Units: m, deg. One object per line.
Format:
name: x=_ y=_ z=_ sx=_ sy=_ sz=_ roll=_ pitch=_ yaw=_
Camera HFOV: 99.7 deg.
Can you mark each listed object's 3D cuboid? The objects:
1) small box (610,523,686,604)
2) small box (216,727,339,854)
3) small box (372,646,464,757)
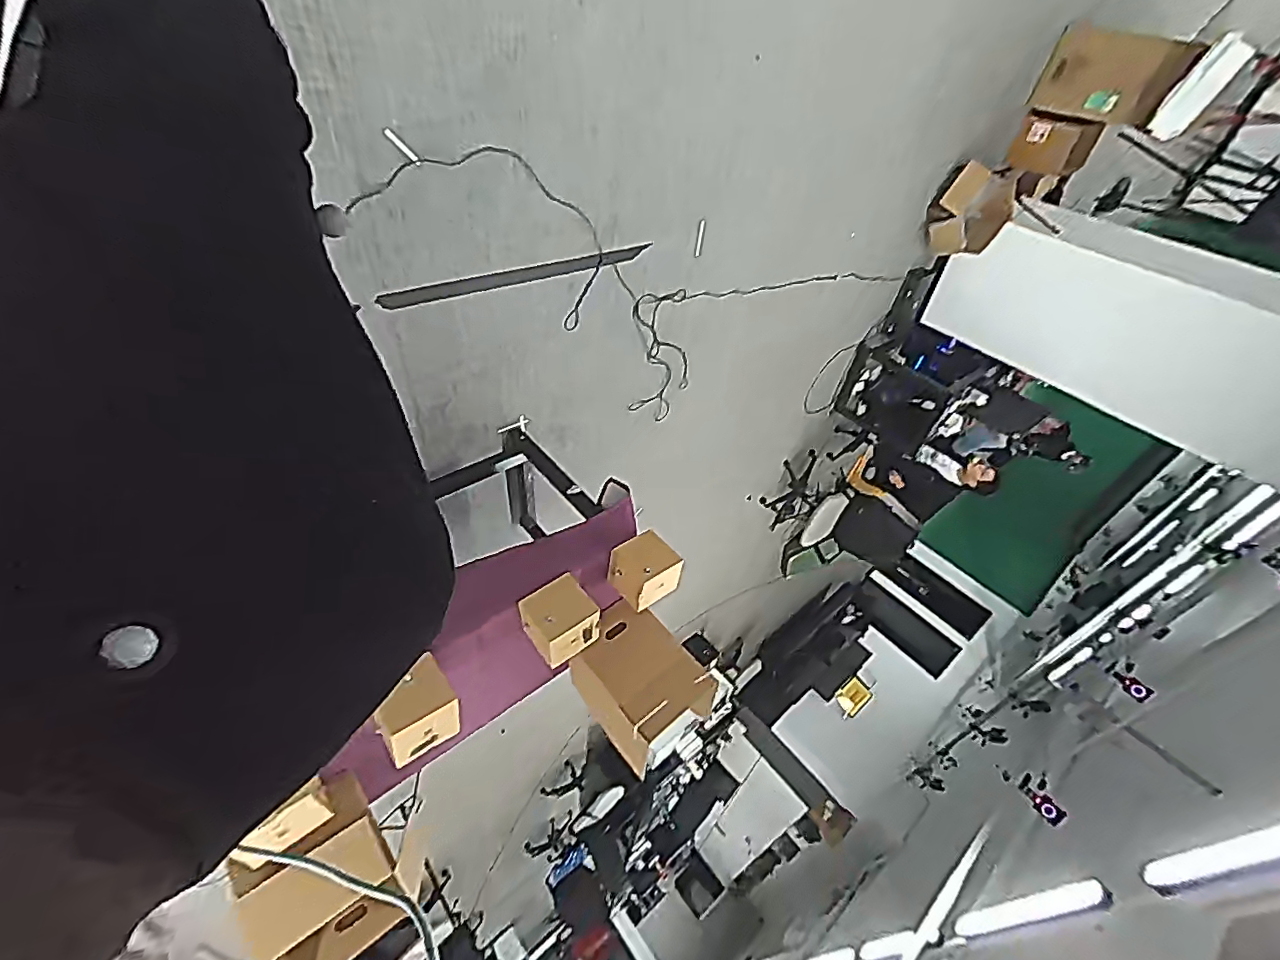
small box: x=0.024 y=0.274 z=1.819 sx=0.179 sy=0.176 sz=0.168 roll=-25 pitch=143 yaw=-31
small box: x=-0.829 y=0.707 z=1.243 sx=0.168 sy=0.176 sz=0.179 roll=-29 pitch=145 yaw=-30
small box: x=-0.575 y=0.569 z=1.407 sx=0.168 sy=0.176 sz=0.179 roll=-23 pitch=141 yaw=-36
